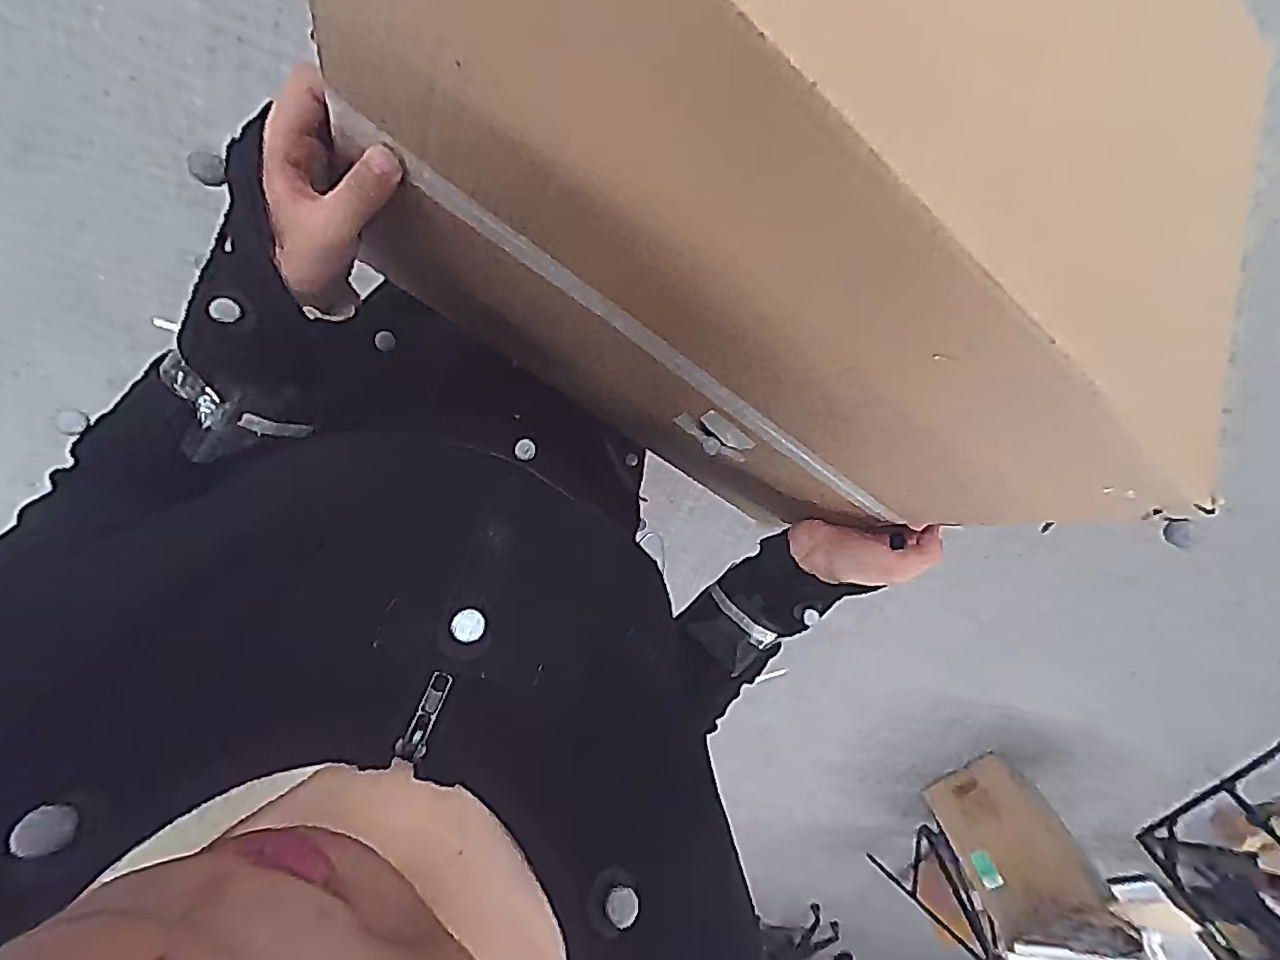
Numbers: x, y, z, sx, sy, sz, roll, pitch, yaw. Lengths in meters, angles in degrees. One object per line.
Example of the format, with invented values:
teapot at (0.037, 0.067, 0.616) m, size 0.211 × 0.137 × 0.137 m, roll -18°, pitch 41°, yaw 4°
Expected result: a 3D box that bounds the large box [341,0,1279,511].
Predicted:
large box at (0.100, -0.216, 0.322) m, size 0.408 × 0.320 × 0.320 m, roll 31°, pitch 74°, yaw -19°
